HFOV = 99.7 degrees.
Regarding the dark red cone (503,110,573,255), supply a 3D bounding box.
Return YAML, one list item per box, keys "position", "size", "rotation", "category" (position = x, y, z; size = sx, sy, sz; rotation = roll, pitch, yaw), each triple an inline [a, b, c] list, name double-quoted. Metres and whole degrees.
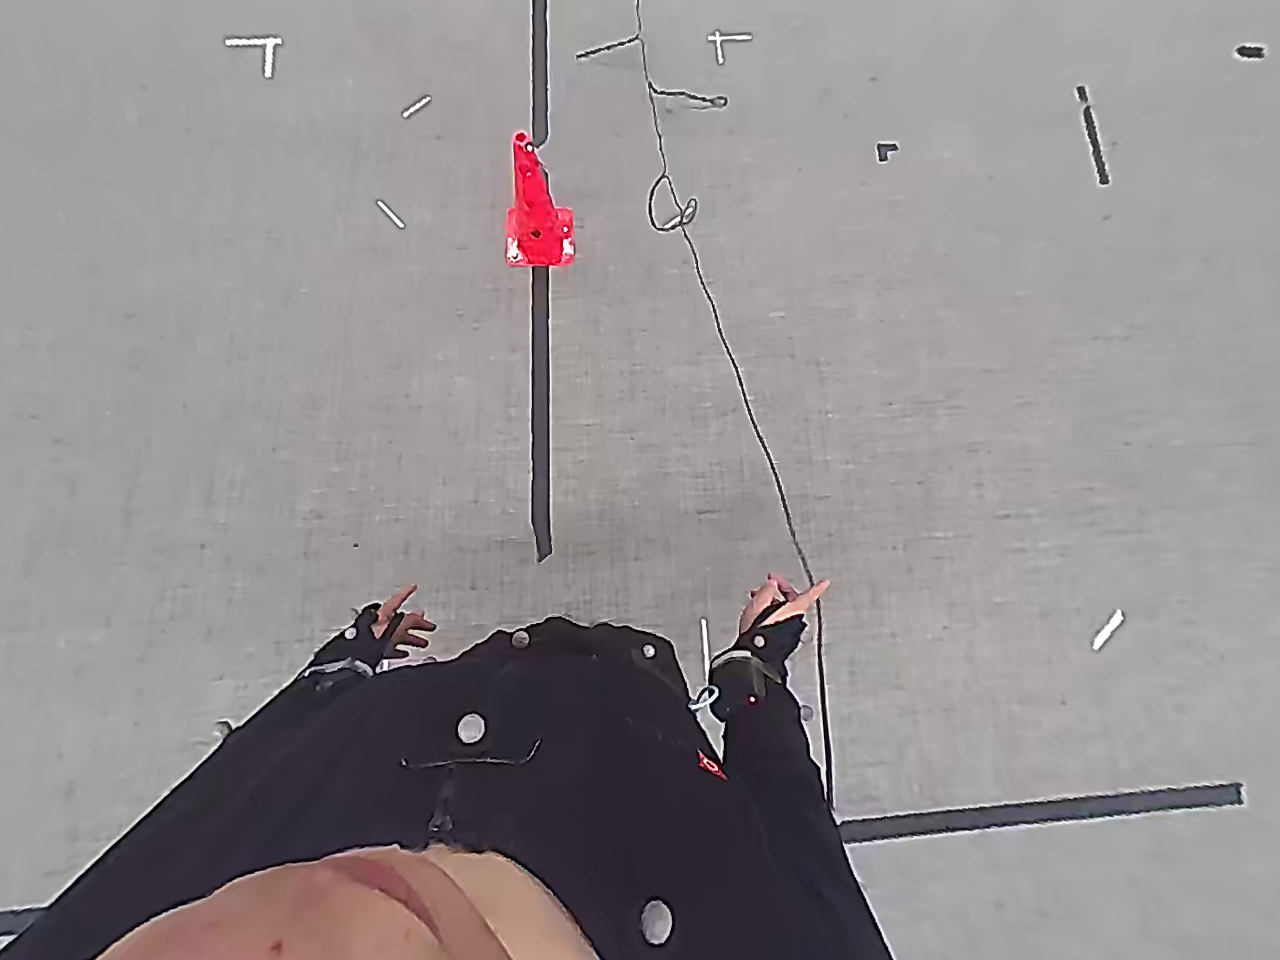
- position: [-0.288, -0.787, 1.430]
  size: [0.201, 0.394, 0.202]
  rotation: [-3, 77, -5]
  category: "dark red cone"
